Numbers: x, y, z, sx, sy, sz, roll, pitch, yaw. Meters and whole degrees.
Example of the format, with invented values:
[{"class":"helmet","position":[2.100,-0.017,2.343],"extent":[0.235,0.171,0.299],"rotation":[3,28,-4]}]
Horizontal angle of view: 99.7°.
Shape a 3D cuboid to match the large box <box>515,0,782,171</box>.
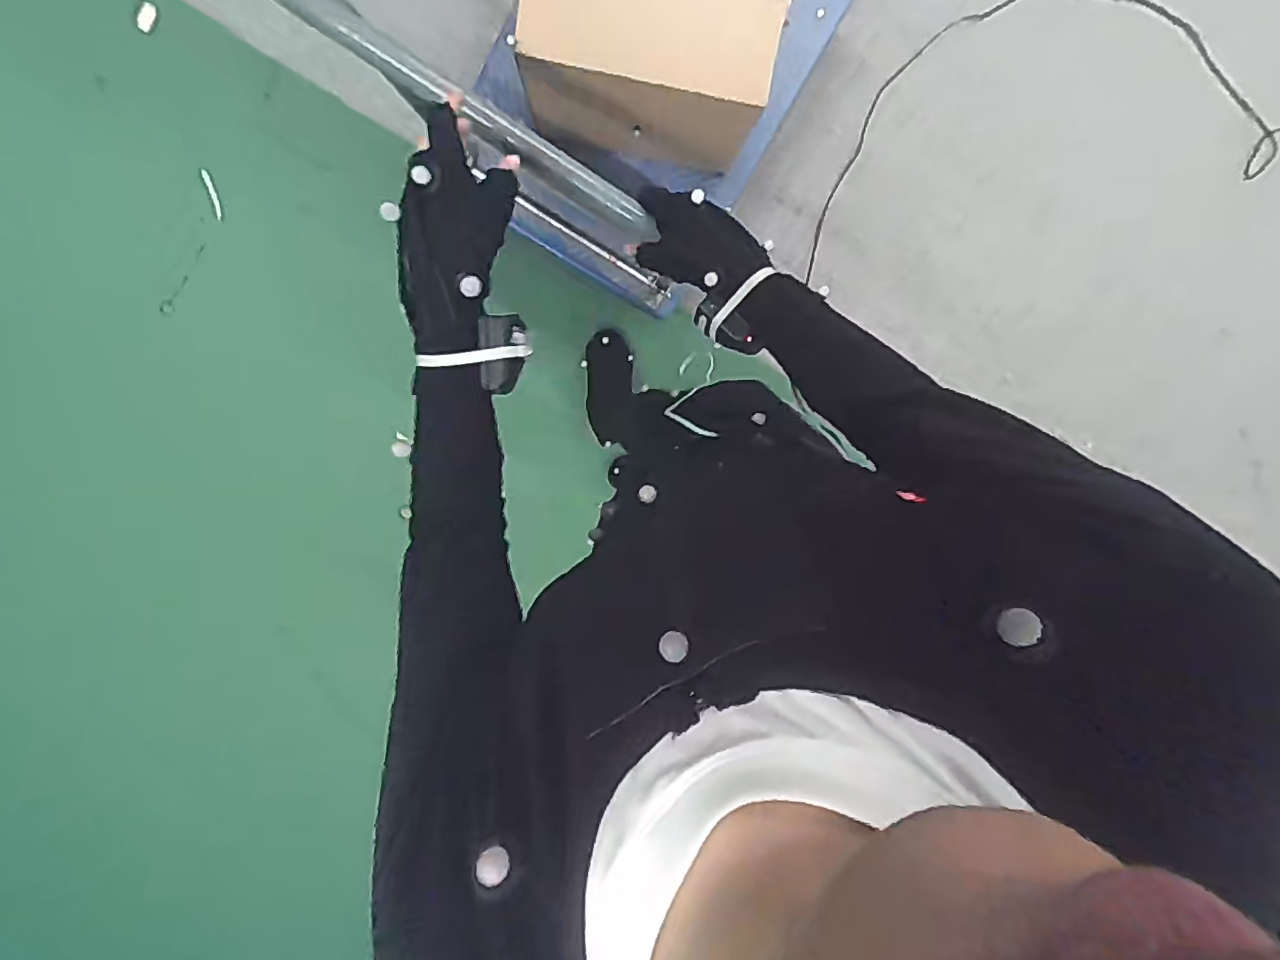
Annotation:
[{"class":"large box","position":[0.020,-0.797,0.967],"extent":[0.408,0.320,0.320],"rotation":[9,101,-4]}]
